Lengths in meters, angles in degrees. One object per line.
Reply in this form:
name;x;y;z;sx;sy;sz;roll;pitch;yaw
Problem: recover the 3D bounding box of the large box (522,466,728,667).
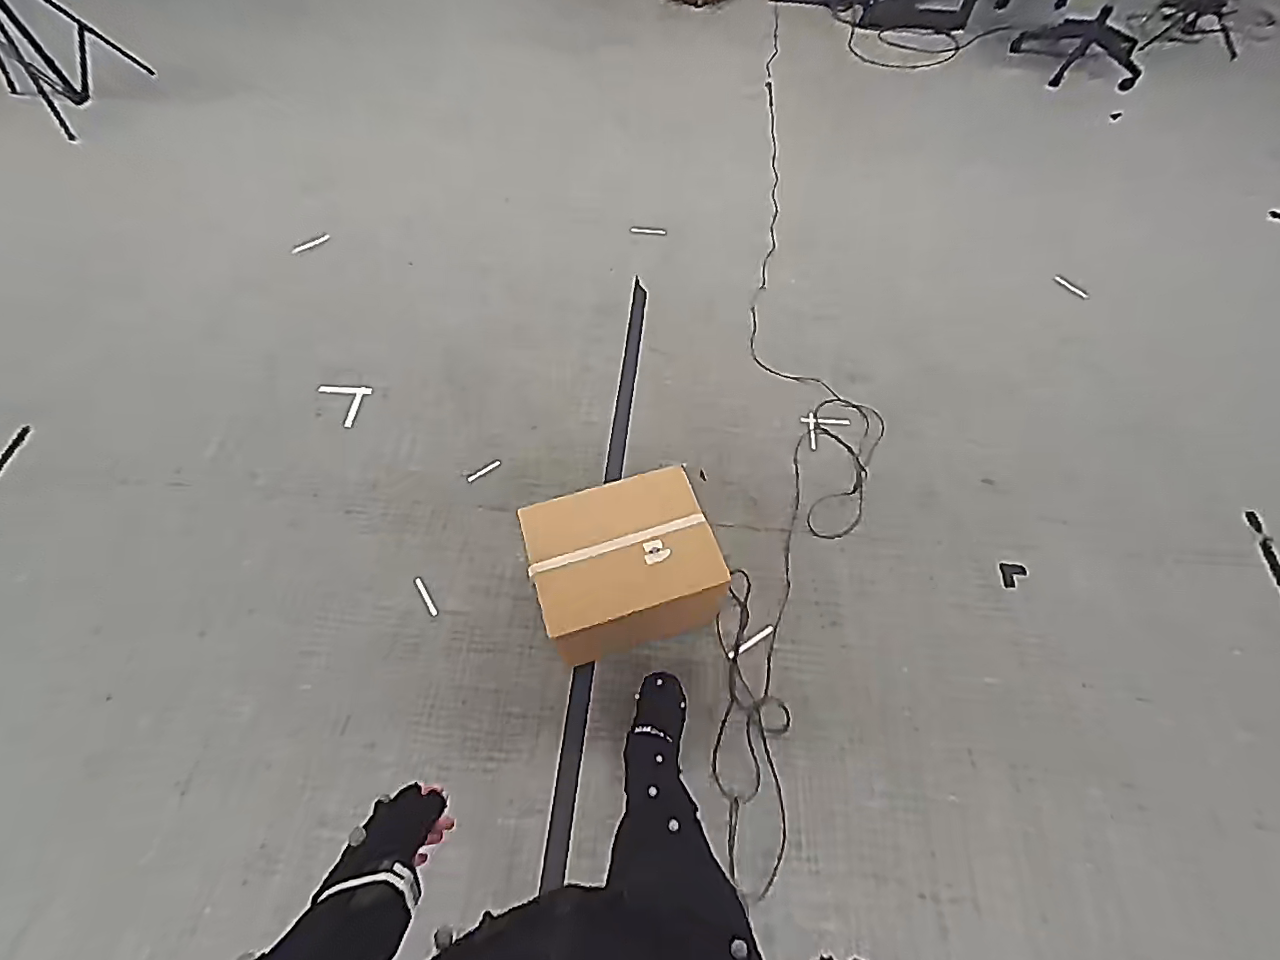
large box;-0.042;0.219;1.334;0.408;0.320;0.320;-15;61;-10
